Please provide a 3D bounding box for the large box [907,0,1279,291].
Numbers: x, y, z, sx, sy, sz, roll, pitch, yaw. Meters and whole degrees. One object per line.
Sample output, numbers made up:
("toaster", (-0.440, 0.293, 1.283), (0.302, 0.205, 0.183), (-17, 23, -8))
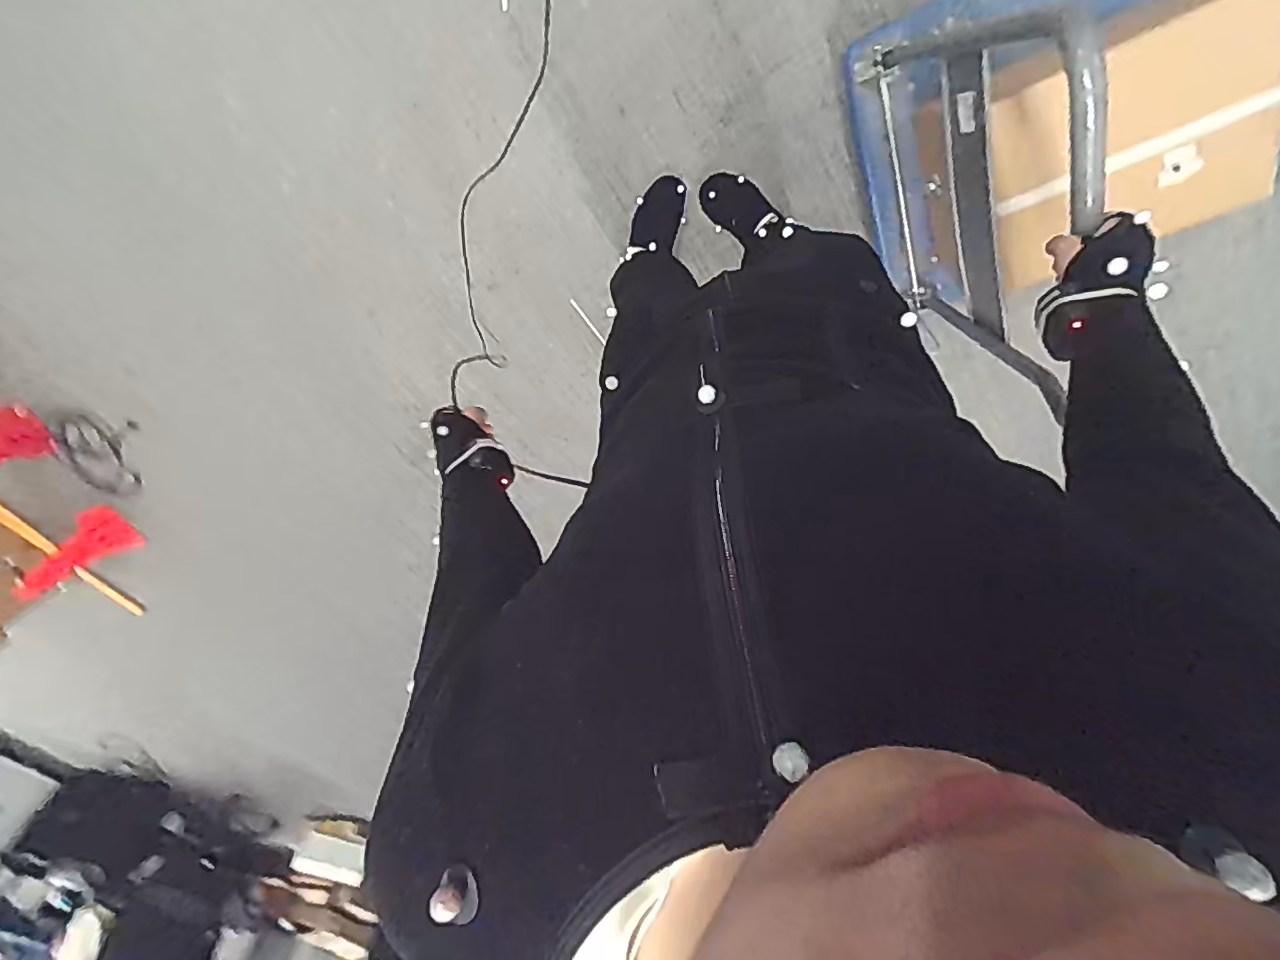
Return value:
("large box", (0.770, -0.606, 0.985), (0.408, 0.320, 0.320), (-19, 121, 16))
